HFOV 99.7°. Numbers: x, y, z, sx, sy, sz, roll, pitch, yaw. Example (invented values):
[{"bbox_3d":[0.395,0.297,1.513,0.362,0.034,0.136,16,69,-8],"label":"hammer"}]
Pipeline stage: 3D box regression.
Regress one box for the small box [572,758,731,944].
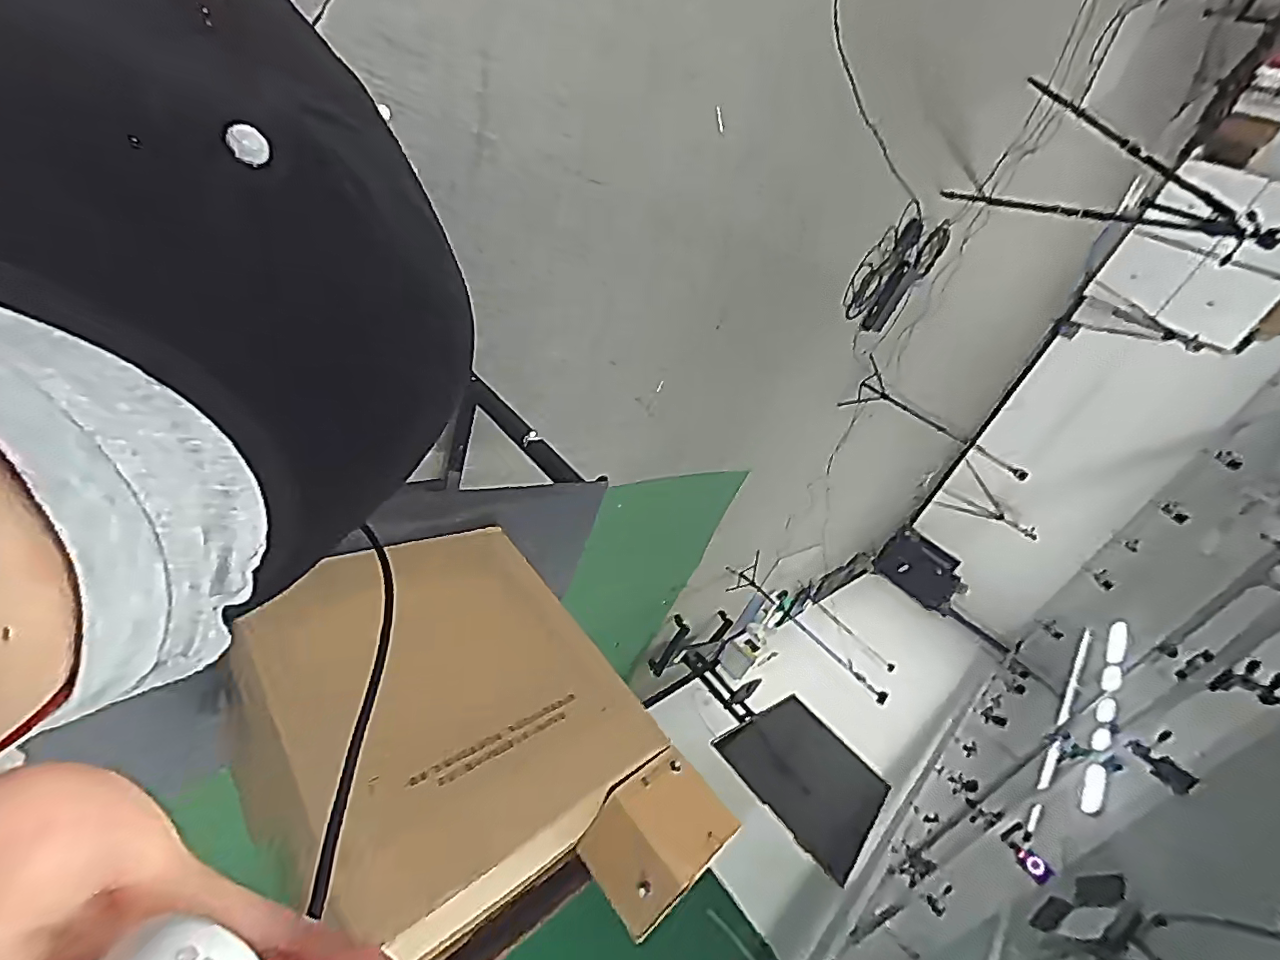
[{"bbox_3d":[0.013,0.603,0.906,0.168,0.176,0.179,-7,132,-49],"label":"small box"}]
